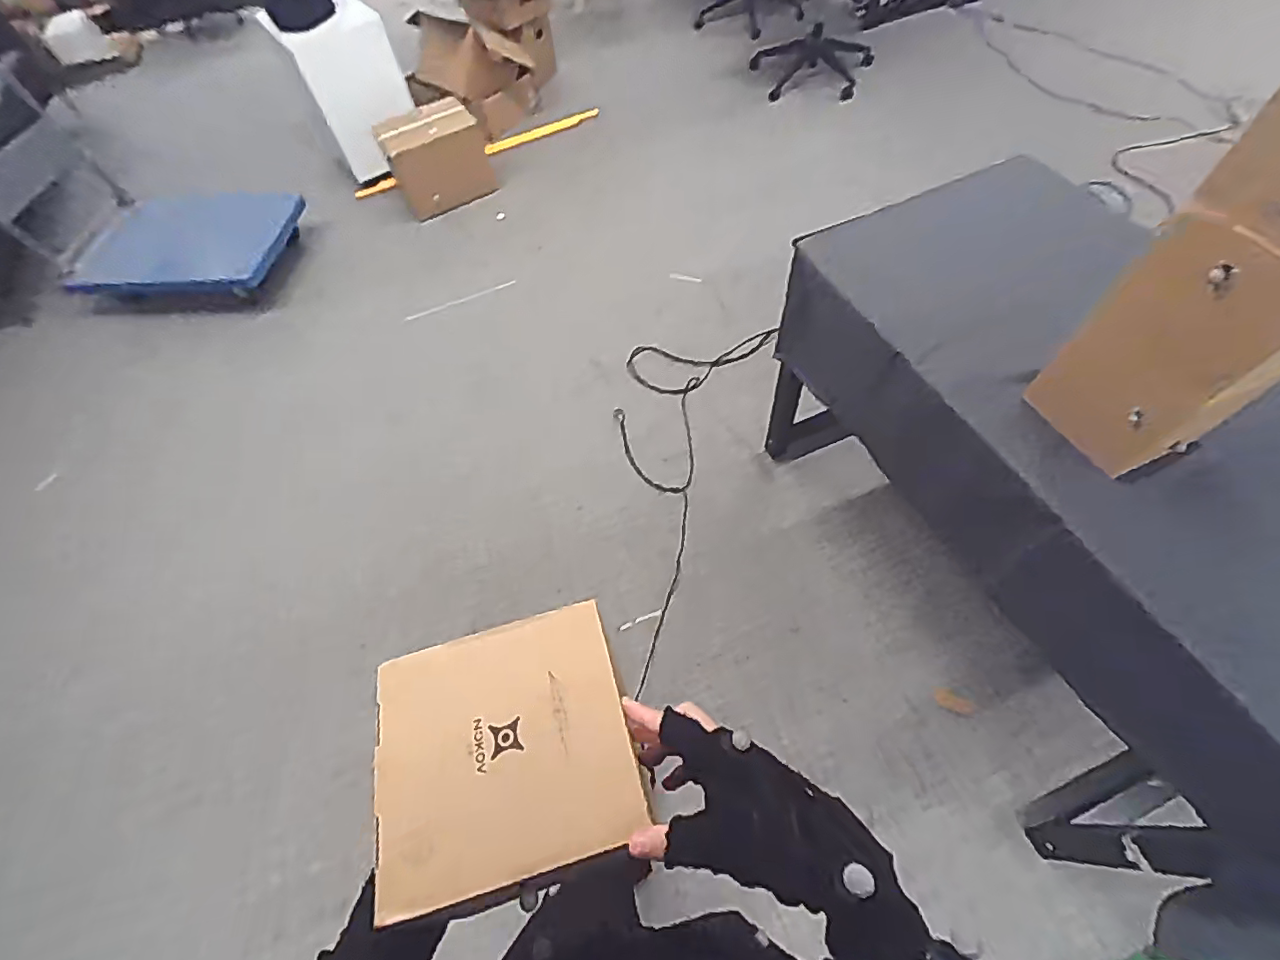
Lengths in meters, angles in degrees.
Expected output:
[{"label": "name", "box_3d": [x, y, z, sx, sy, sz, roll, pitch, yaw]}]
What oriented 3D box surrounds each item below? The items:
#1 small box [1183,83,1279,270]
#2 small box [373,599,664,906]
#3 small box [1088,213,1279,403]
[{"label": "small box", "box_3d": [0.695, -0.304, 0.500, 0.168, 0.176, 0.179, -21, 59, -8]}, {"label": "small box", "box_3d": [-0.088, 0.226, 0.442, 0.179, 0.176, 0.168, -15, 53, -4]}, {"label": "small box", "box_3d": [0.703, -0.213, 0.636, 0.168, 0.176, 0.179, -23, 59, -9]}]
